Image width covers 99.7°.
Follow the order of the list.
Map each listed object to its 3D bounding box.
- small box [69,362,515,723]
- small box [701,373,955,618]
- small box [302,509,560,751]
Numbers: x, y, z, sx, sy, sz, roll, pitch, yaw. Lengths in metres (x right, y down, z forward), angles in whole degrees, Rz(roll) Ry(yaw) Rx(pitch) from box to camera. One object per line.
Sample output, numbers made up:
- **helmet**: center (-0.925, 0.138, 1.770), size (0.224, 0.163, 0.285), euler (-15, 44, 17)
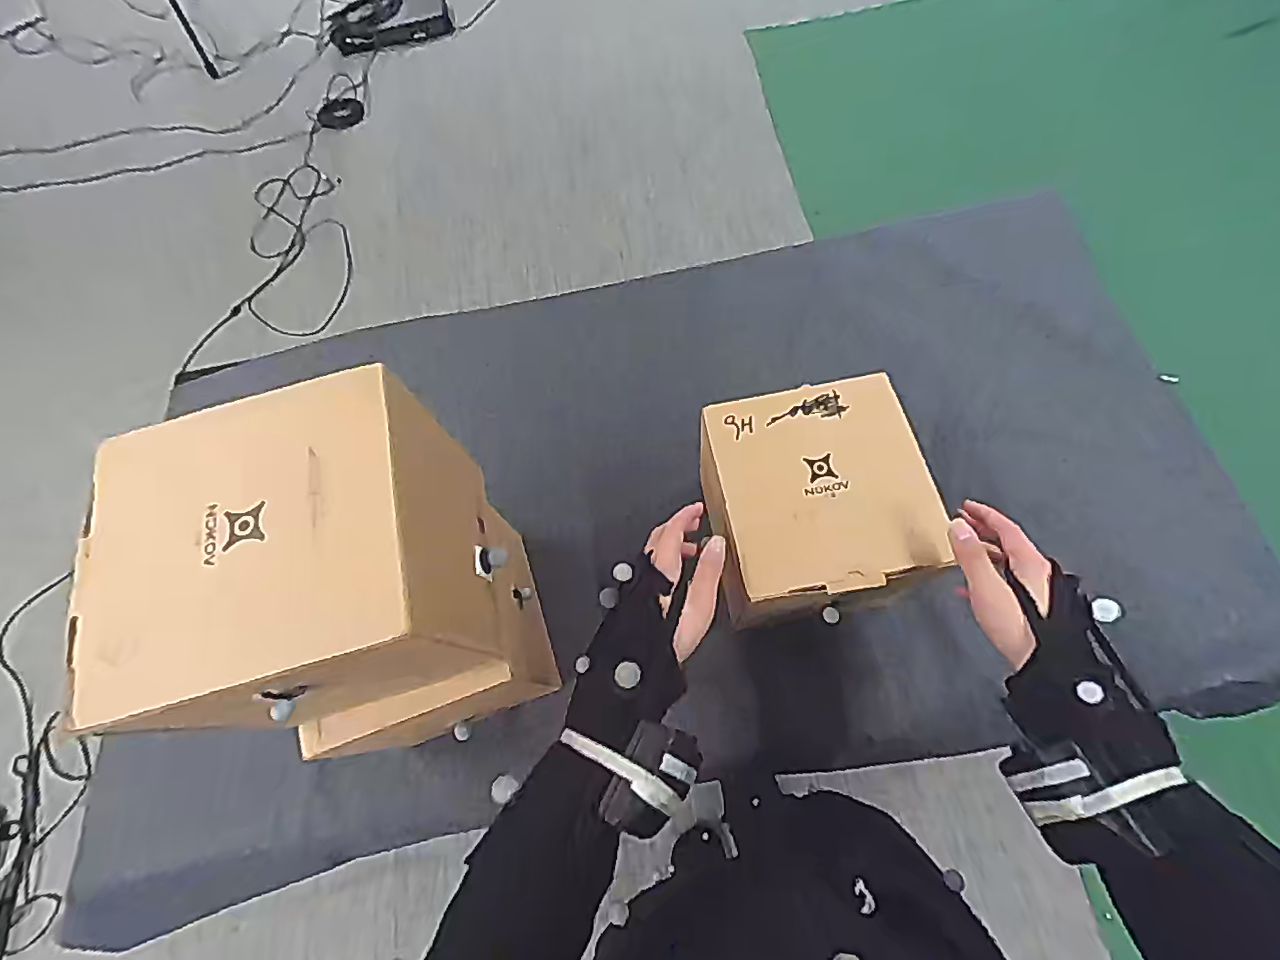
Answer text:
- **small box**: center (-0.204, 0.054, 0.364), size (0.179, 0.176, 0.168), euler (-16, 68, -2)
- **small box**: center (0.156, 0.029, 0.516), size (0.168, 0.176, 0.179), euler (-11, 67, 1)
- **small box**: center (-0.189, 0.132, 0.508), size (0.168, 0.176, 0.179), euler (-20, 68, -3)
